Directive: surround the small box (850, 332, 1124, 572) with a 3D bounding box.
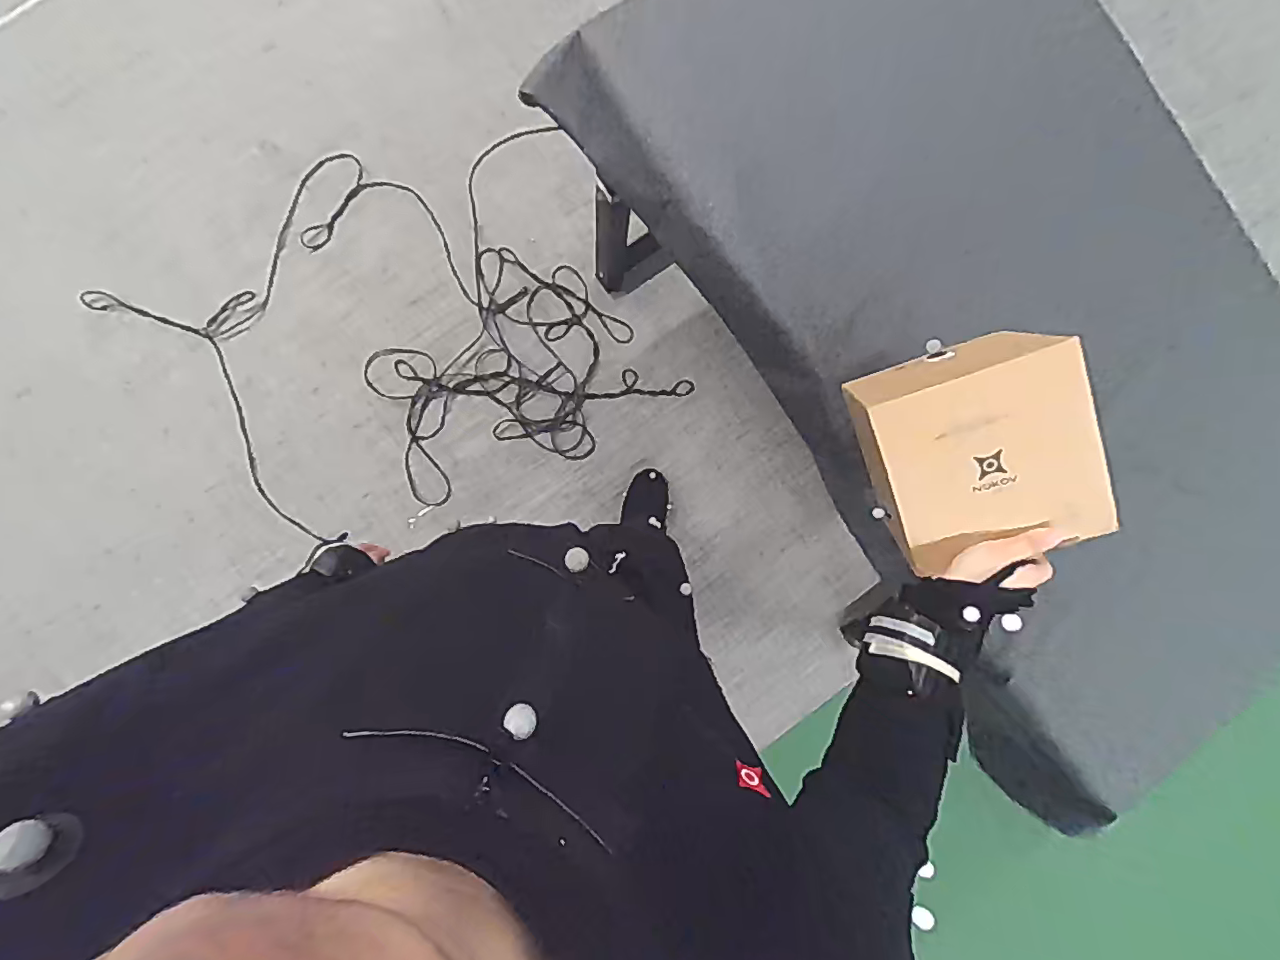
[{"bbox_3d":[0.329,-0.037,0.547,0.168,0.176,0.179,-20,101,17],"label":"small box"}]
